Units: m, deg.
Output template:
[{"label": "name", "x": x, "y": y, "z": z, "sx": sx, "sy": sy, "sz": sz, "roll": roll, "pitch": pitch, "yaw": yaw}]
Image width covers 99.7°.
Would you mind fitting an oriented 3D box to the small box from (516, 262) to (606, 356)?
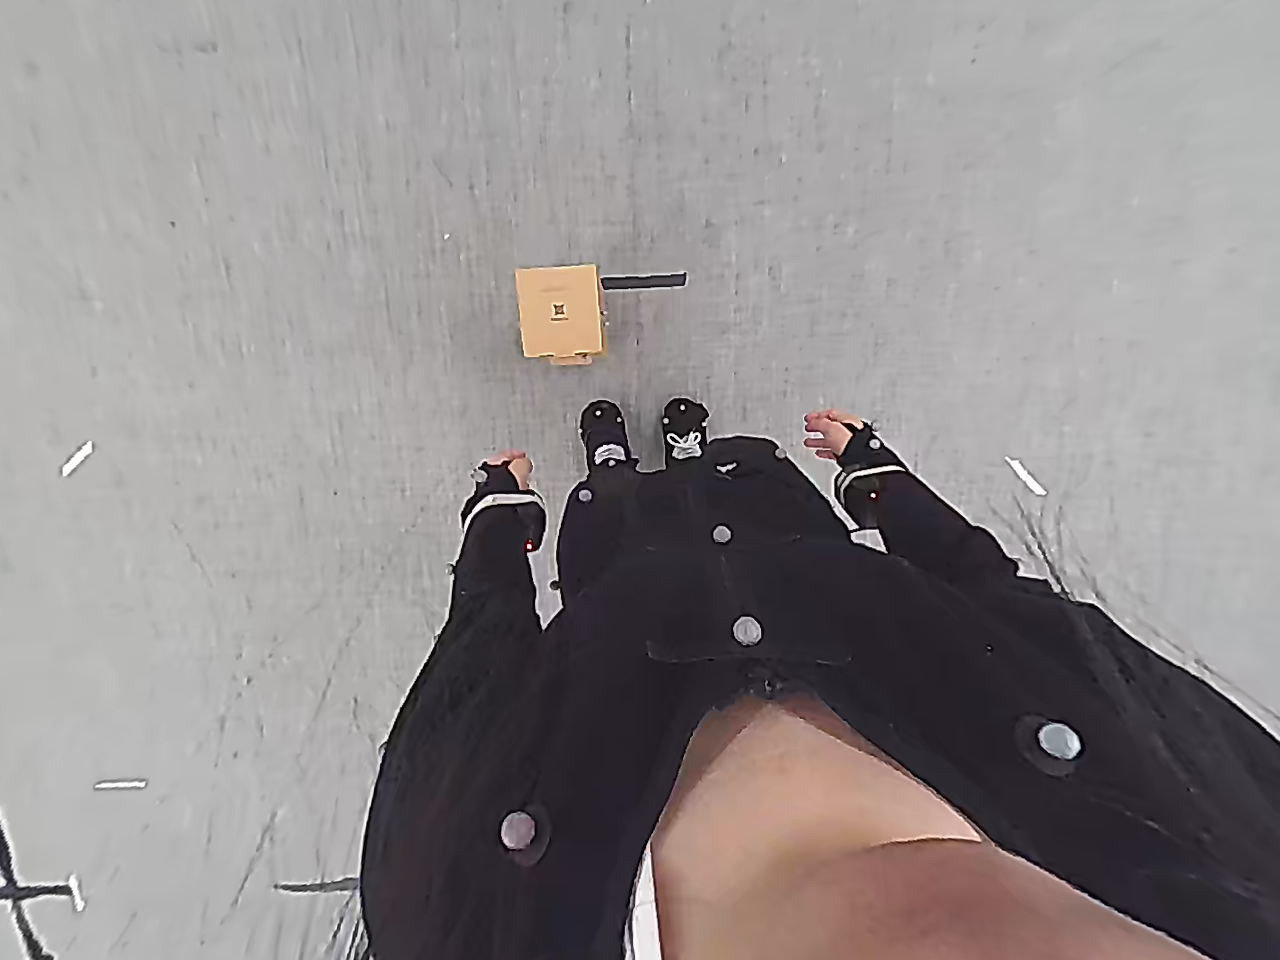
[{"label": "small box", "x": -0.164, "y": -0.364, "z": 1.177, "sx": 0.168, "sy": 0.176, "sz": 0.179, "roll": -4, "pitch": 101, "yaw": -1}]
